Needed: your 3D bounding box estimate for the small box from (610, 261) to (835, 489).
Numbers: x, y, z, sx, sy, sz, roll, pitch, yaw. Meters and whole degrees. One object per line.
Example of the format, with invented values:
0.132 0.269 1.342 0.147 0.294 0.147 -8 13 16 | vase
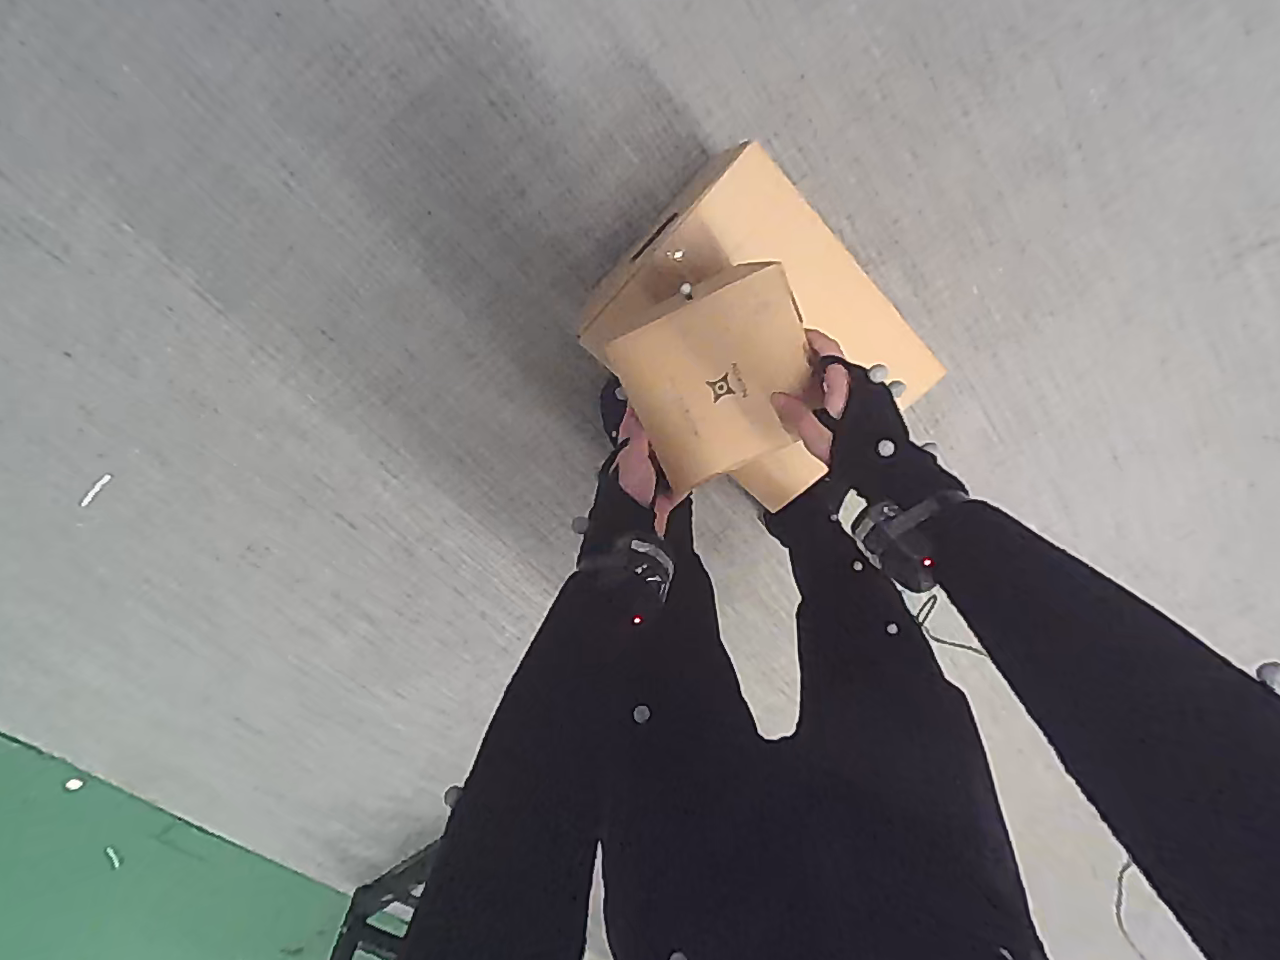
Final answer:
0.078 -0.121 0.587 0.179 0.176 0.168 -25 109 8 | small box
